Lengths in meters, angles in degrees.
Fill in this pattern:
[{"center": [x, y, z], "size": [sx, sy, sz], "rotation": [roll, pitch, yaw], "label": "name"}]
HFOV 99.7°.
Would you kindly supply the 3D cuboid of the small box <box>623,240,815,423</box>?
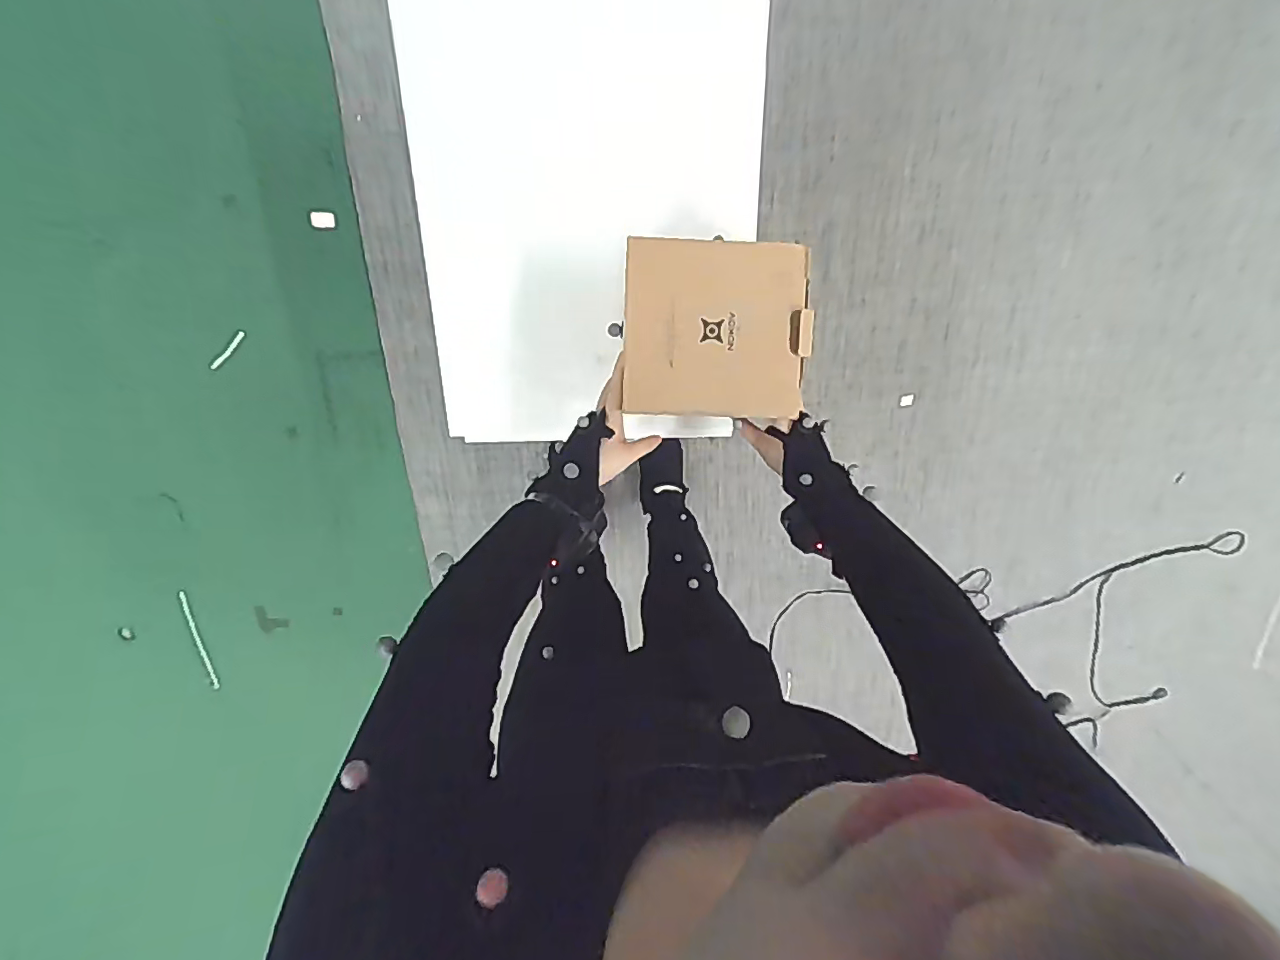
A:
[{"center": [0.072, -0.153, 0.594], "size": [0.179, 0.176, 0.168], "rotation": [1, 99, -2], "label": "small box"}]
